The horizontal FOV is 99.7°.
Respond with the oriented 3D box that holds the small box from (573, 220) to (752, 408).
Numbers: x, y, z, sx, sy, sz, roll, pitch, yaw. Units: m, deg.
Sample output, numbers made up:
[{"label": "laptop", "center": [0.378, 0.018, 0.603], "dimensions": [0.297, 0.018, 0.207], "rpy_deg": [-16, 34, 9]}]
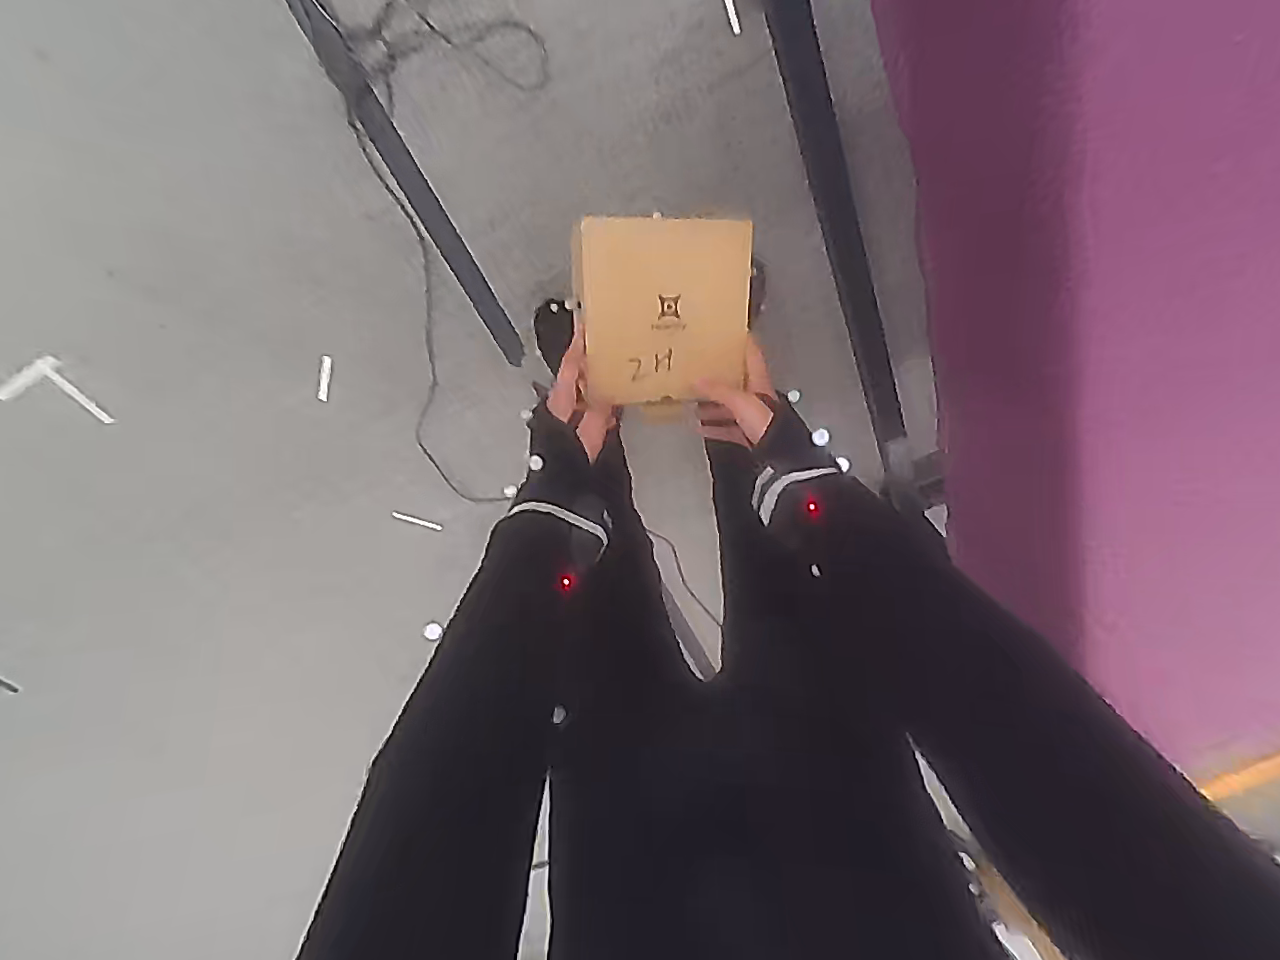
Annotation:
[{"label": "small box", "center": [0.013, -0.184, 0.607], "dimensions": [0.168, 0.176, 0.179], "rpy_deg": [-3, 110, -10]}]
